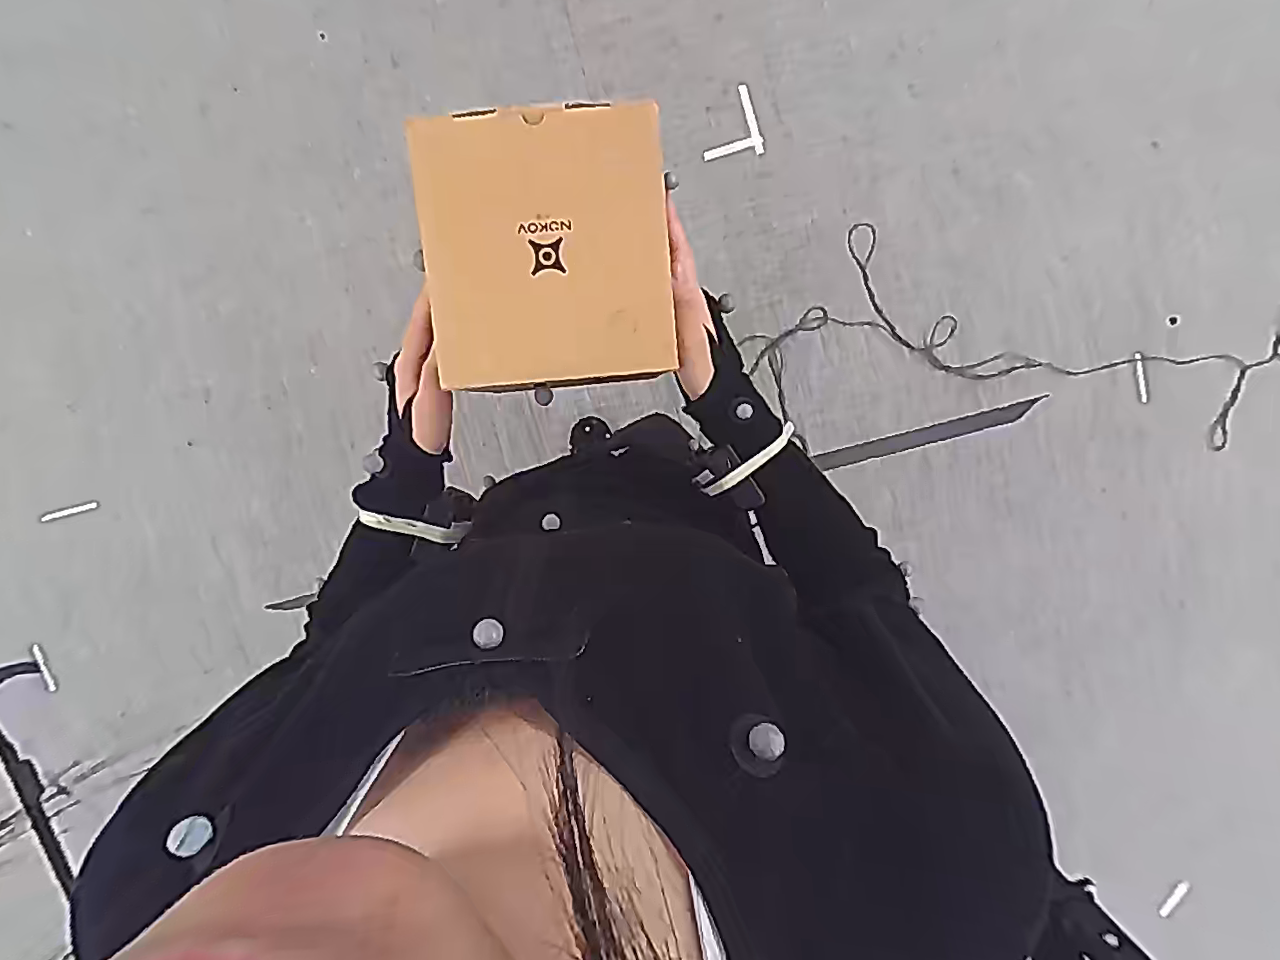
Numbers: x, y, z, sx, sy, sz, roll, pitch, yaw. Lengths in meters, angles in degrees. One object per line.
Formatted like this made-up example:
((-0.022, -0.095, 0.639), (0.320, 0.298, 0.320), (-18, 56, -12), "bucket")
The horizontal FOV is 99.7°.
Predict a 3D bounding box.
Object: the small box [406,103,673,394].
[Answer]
((-0.065, -0.164, 0.439), (0.168, 0.176, 0.179), (-5, 98, -2), "small box")
